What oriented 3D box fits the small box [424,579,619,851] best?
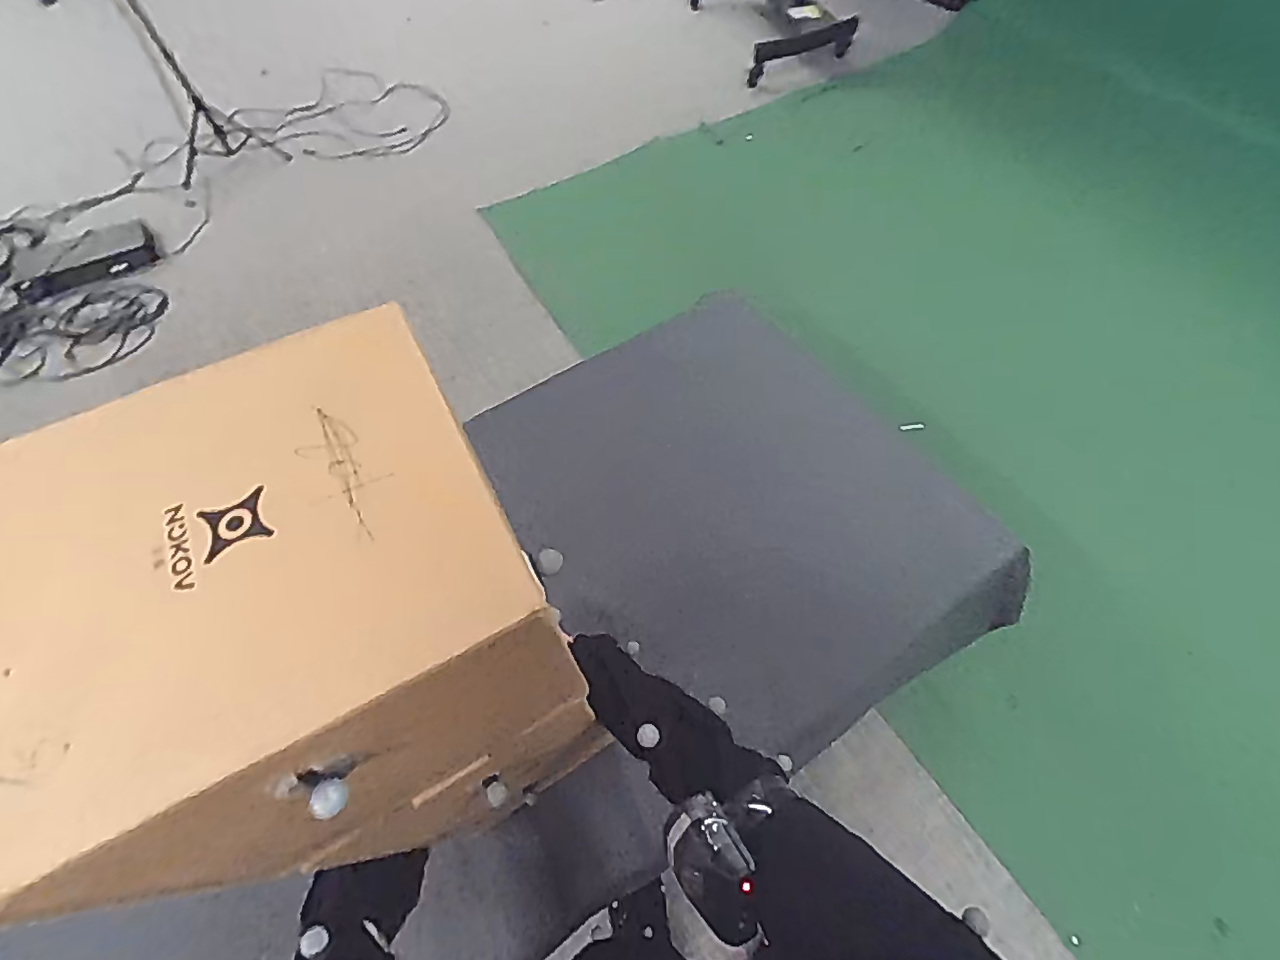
[{"bbox_3d":[-0.137,0.225,0.538,0.179,0.176,0.168,-31,64,-18],"label":"small box"}]

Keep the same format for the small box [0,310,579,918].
[{"bbox_3d":[-0.145,0.061,0.256,0.179,0.176,0.168,-26,63,-15],"label":"small box"}]

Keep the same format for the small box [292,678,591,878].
[{"bbox_3d":[-0.149,0.141,0.398,0.168,0.176,0.179,-29,63,-15],"label":"small box"}]
